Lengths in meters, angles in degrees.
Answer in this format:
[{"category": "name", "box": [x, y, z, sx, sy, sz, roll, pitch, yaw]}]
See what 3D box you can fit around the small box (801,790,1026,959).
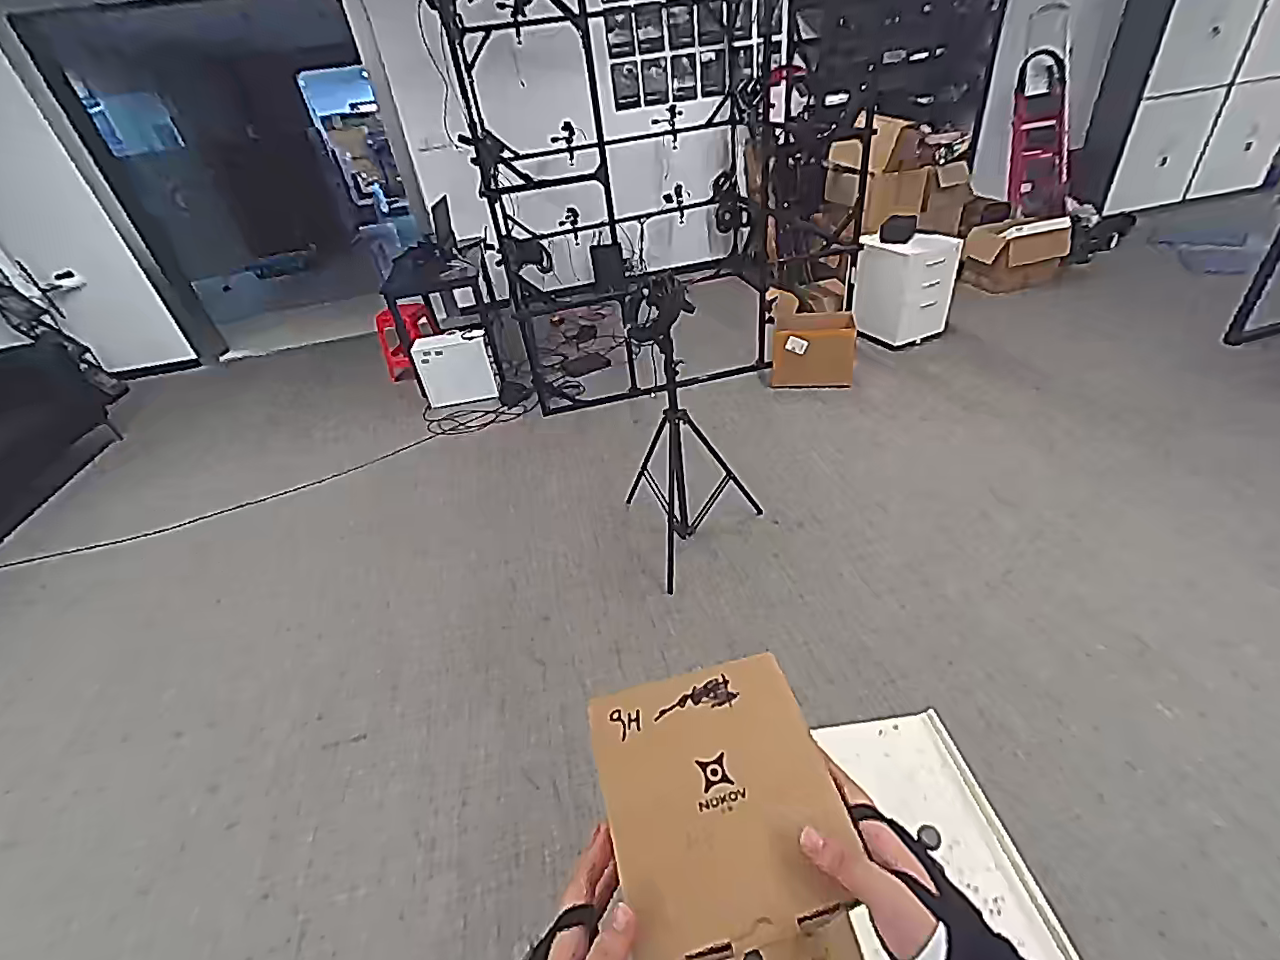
[{"category": "small box", "box": [0.306, 0.510, 0.652, 0.168, 0.176, 0.179, -7, 38, -2]}]
